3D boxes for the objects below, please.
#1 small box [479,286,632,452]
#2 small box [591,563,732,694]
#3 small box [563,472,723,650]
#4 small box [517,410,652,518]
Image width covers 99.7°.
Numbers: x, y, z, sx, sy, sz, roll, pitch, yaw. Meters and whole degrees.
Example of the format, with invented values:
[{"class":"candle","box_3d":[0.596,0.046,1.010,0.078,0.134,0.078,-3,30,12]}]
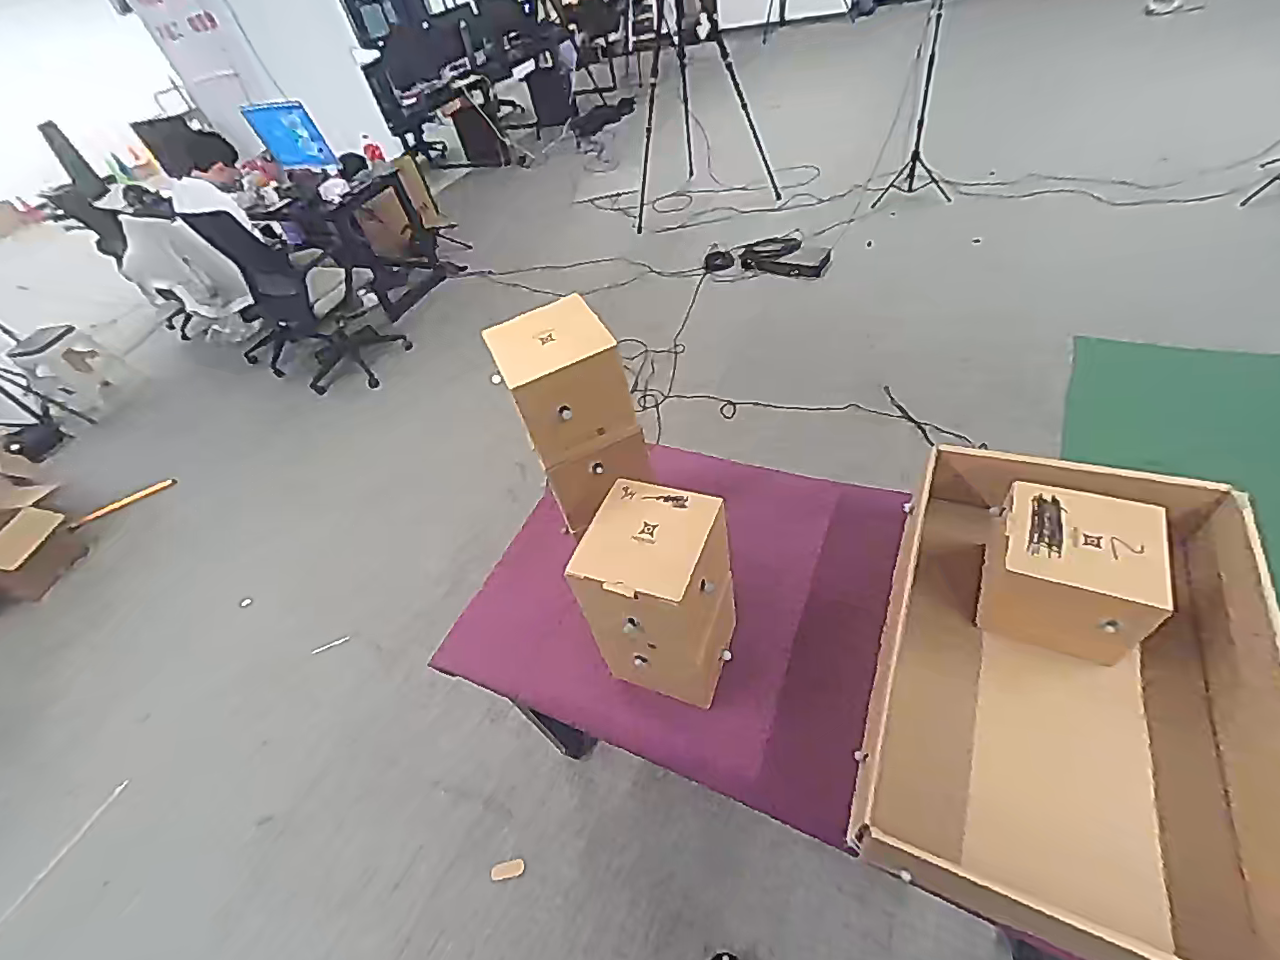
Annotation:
[{"class":"small box","box_3d":[-0.127,-0.167,0.852,0.168,0.176,0.179,-26,49,-9]},{"class":"small box","box_3d":[0.045,0.230,0.897,0.179,0.176,0.168,11,52,22]},{"class":"small box","box_3d":[0.018,0.118,0.782,0.168,0.176,0.179,12,53,22]},{"class":"small box","box_3d":[-0.095,-0.060,0.969,0.179,0.176,0.168,-24,49,-8]}]
